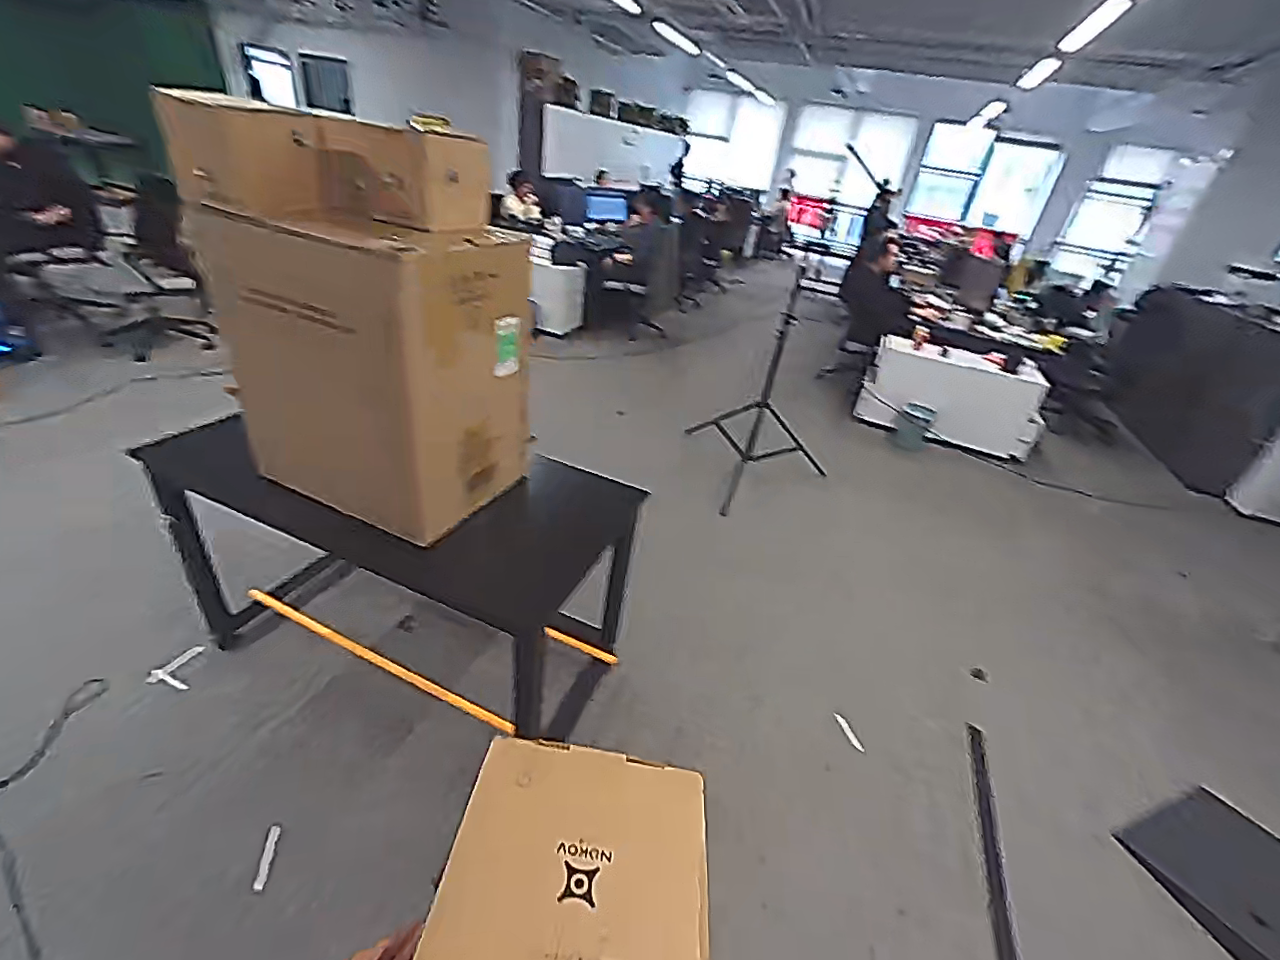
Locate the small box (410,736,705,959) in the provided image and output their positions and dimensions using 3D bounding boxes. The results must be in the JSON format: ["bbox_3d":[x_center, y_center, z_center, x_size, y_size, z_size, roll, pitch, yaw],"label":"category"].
[{"bbox_3d":[-0.055,0.318,0.372,0.168,0.176,0.179,10,27,-2],"label":"small box"}]
